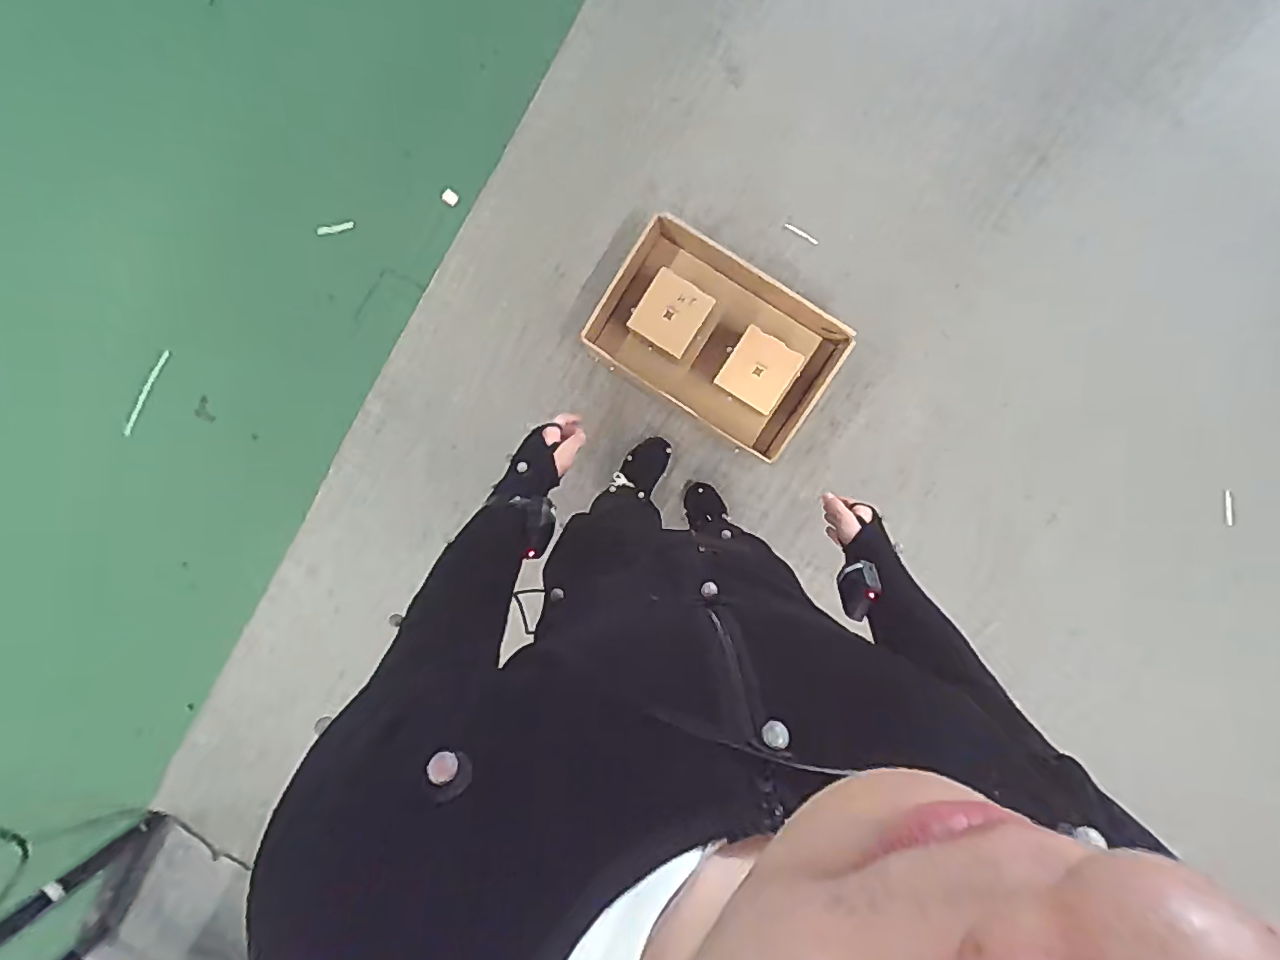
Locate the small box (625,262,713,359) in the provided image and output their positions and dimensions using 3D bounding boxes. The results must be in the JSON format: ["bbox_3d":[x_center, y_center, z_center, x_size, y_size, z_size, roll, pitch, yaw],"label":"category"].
[{"bbox_3d":[0.081,-0.445,1.460,0.168,0.176,0.179,33,96,0],"label":"small box"}]

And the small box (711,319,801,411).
[{"bbox_3d":[0.306,-0.299,1.458,0.168,0.176,0.179,32,96,2],"label":"small box"}]
